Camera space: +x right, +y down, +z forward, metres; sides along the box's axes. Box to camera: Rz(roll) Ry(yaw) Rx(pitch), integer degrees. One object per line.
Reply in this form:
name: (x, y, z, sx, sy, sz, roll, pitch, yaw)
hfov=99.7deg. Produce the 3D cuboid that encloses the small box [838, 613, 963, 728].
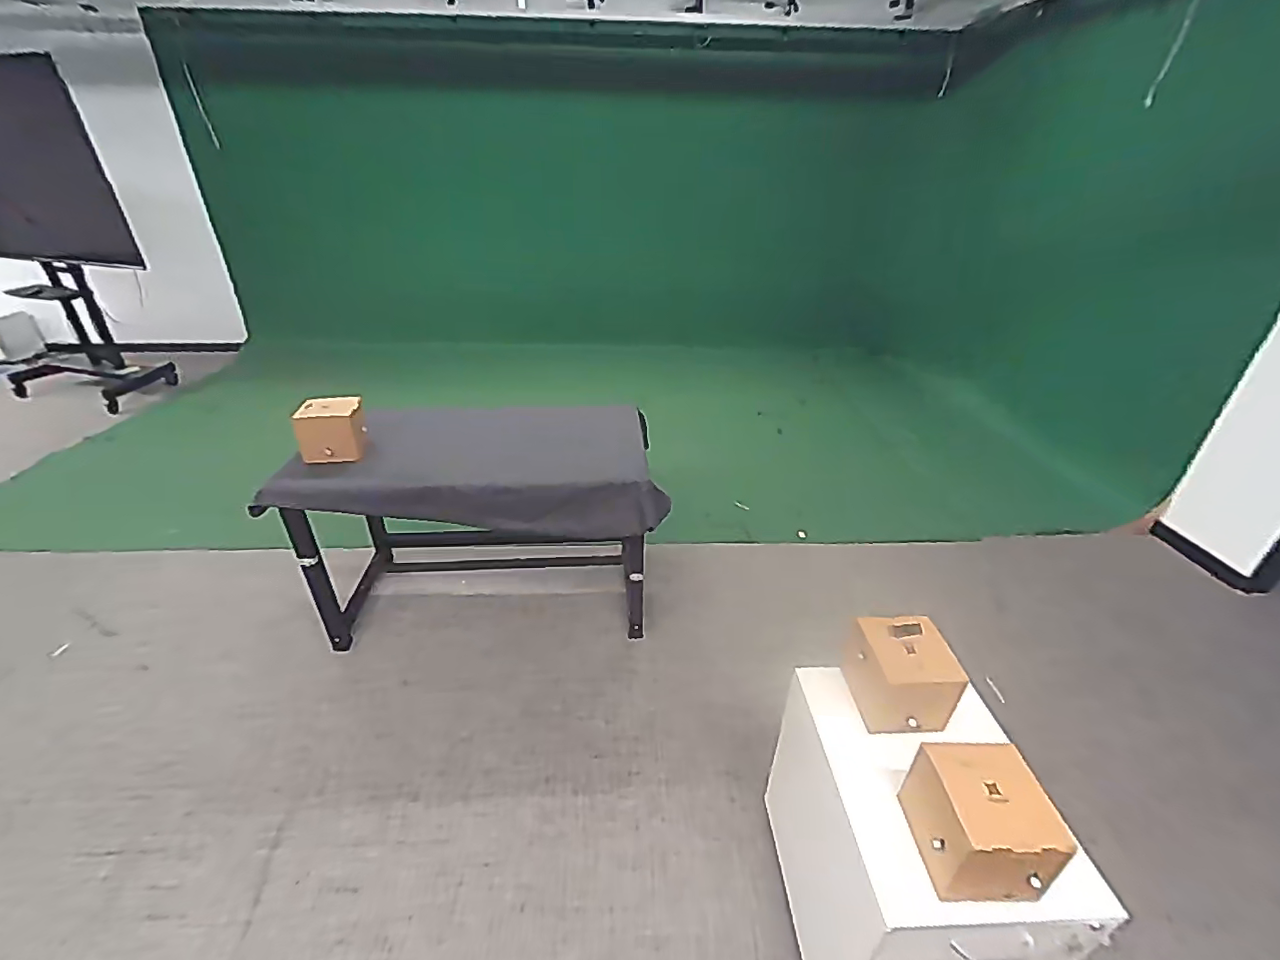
small box: (0.550, 0.411, 1.173, 0.168, 0.176, 0.179, 0, 34, -3)

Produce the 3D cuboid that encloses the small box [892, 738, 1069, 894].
small box: (0.560, 0.570, 0.919, 0.168, 0.176, 0.179, 2, 30, -3)

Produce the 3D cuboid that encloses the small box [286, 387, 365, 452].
small box: (-1.051, -0.204, 1.825, 0.179, 0.176, 0.168, -3, 31, -11)
